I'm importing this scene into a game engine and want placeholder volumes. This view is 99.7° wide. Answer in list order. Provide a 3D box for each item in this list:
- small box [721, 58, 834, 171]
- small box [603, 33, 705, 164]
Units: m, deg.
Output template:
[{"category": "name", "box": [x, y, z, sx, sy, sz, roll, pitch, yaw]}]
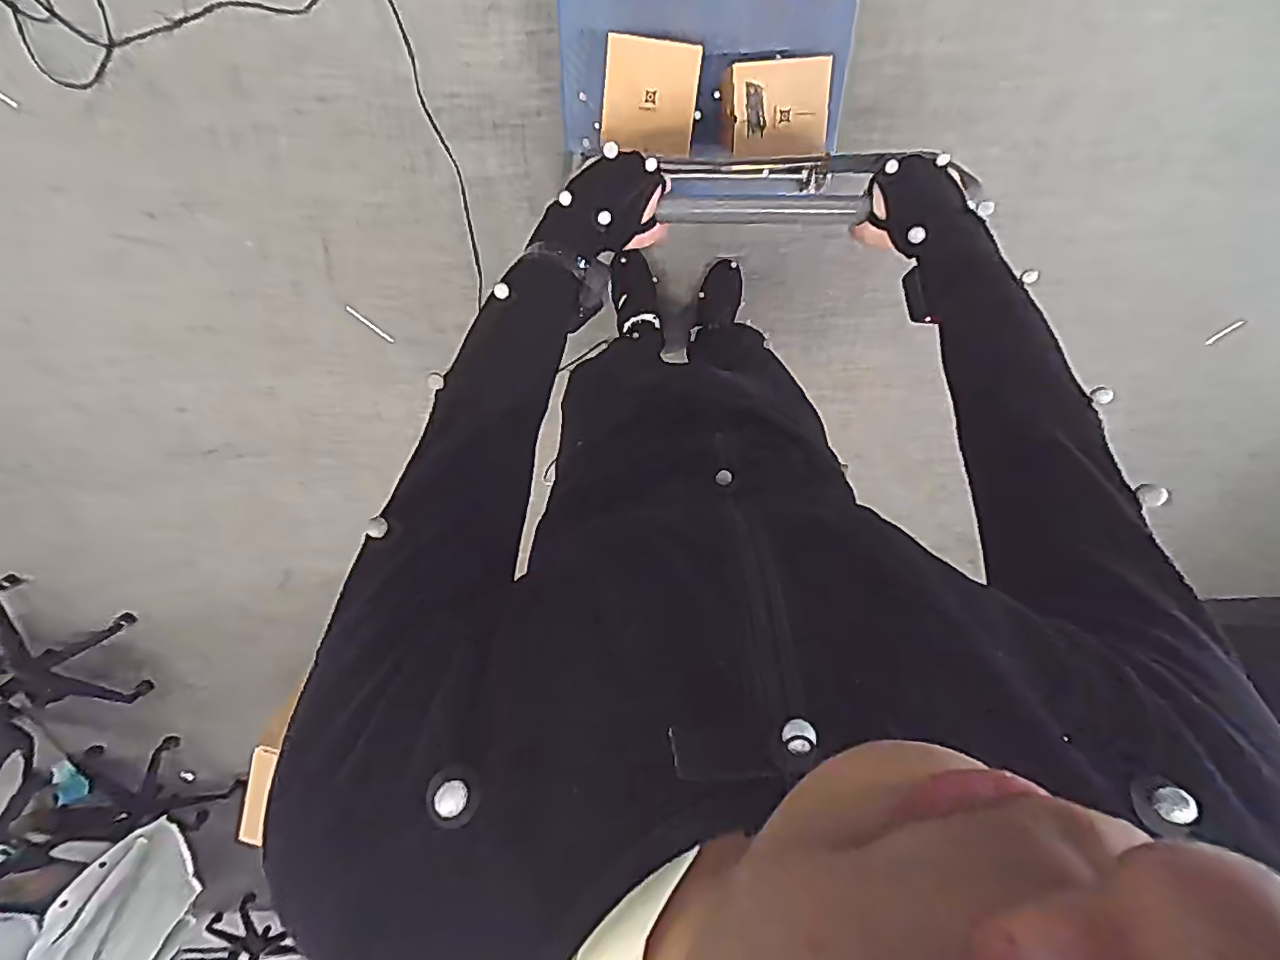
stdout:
[{"category": "small box", "box": [0.254, -0.697, 1.046, 0.179, 0.176, 0.168, -4, 120, 0]}, {"category": "small box", "box": [0.017, -0.714, 1.031, 0.168, 0.176, 0.179, 5, 120, -5]}]
